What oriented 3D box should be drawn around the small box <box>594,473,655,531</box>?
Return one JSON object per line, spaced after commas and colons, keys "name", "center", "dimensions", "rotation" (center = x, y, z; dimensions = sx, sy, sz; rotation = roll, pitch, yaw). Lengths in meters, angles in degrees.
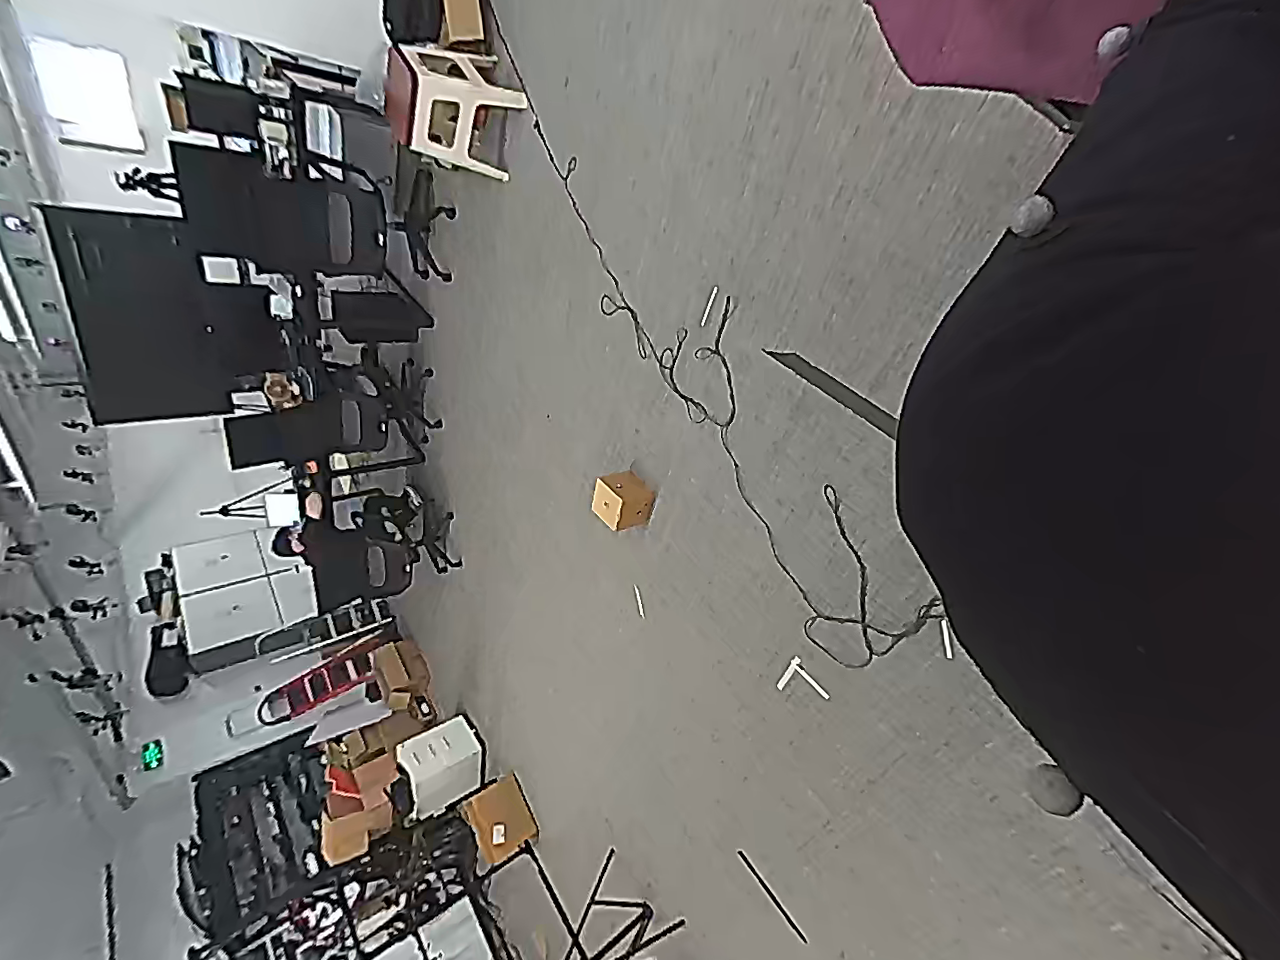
{"name": "small box", "center": [-0.066, 0.086, 2.253], "dimensions": [0.179, 0.176, 0.168], "rotation": [40, 130, 36]}
